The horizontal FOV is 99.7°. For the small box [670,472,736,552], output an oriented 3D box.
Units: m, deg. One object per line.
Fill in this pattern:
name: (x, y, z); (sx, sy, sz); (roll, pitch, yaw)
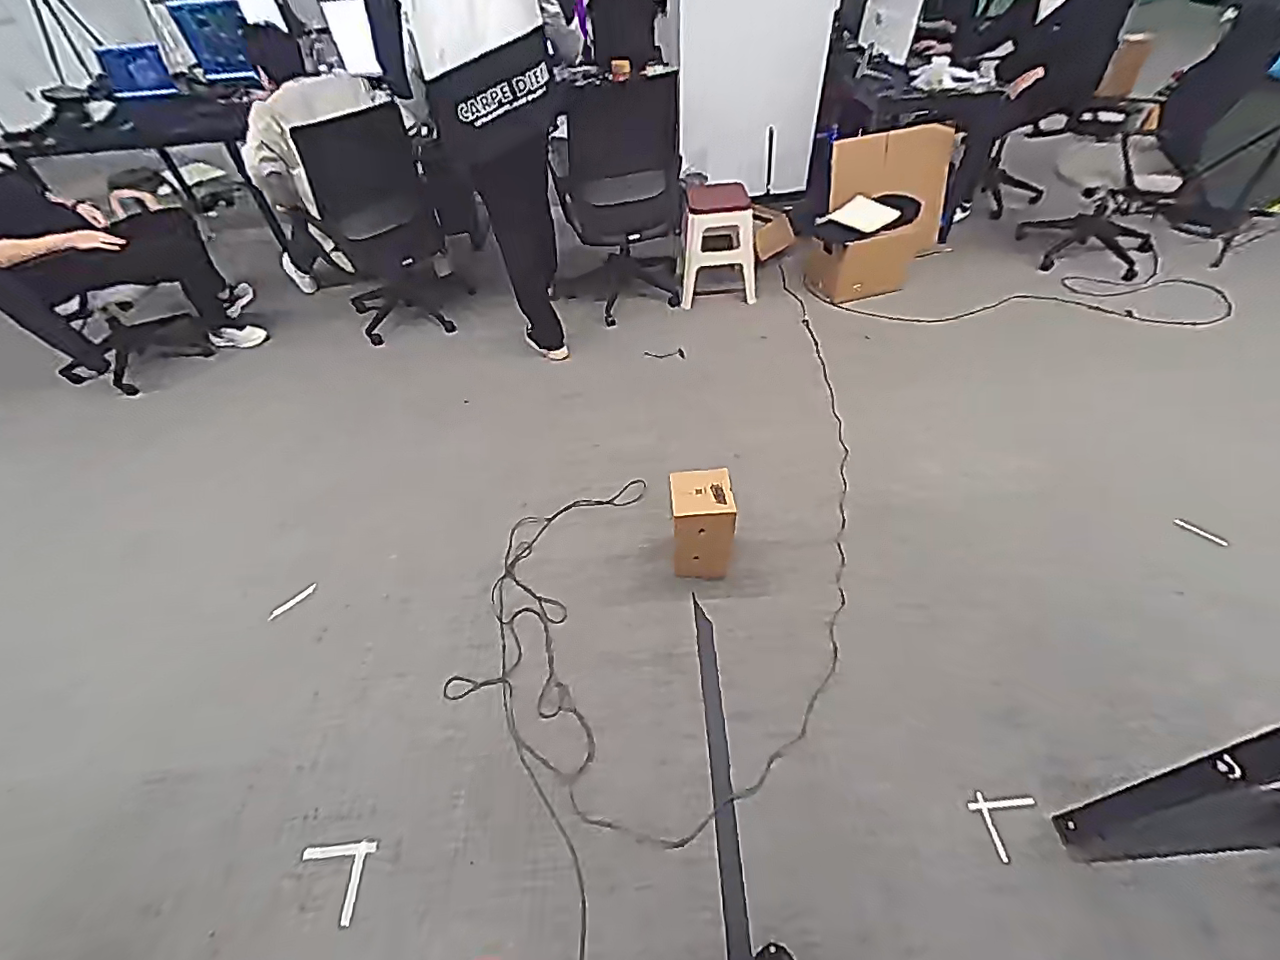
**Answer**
small box: (0.179, 0.095, 1.586); (0.179, 0.176, 0.168); (-4, 47, 1)

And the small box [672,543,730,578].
small box: (0.193, 0.197, 1.716); (0.179, 0.176, 0.168); (1, 48, 6)
